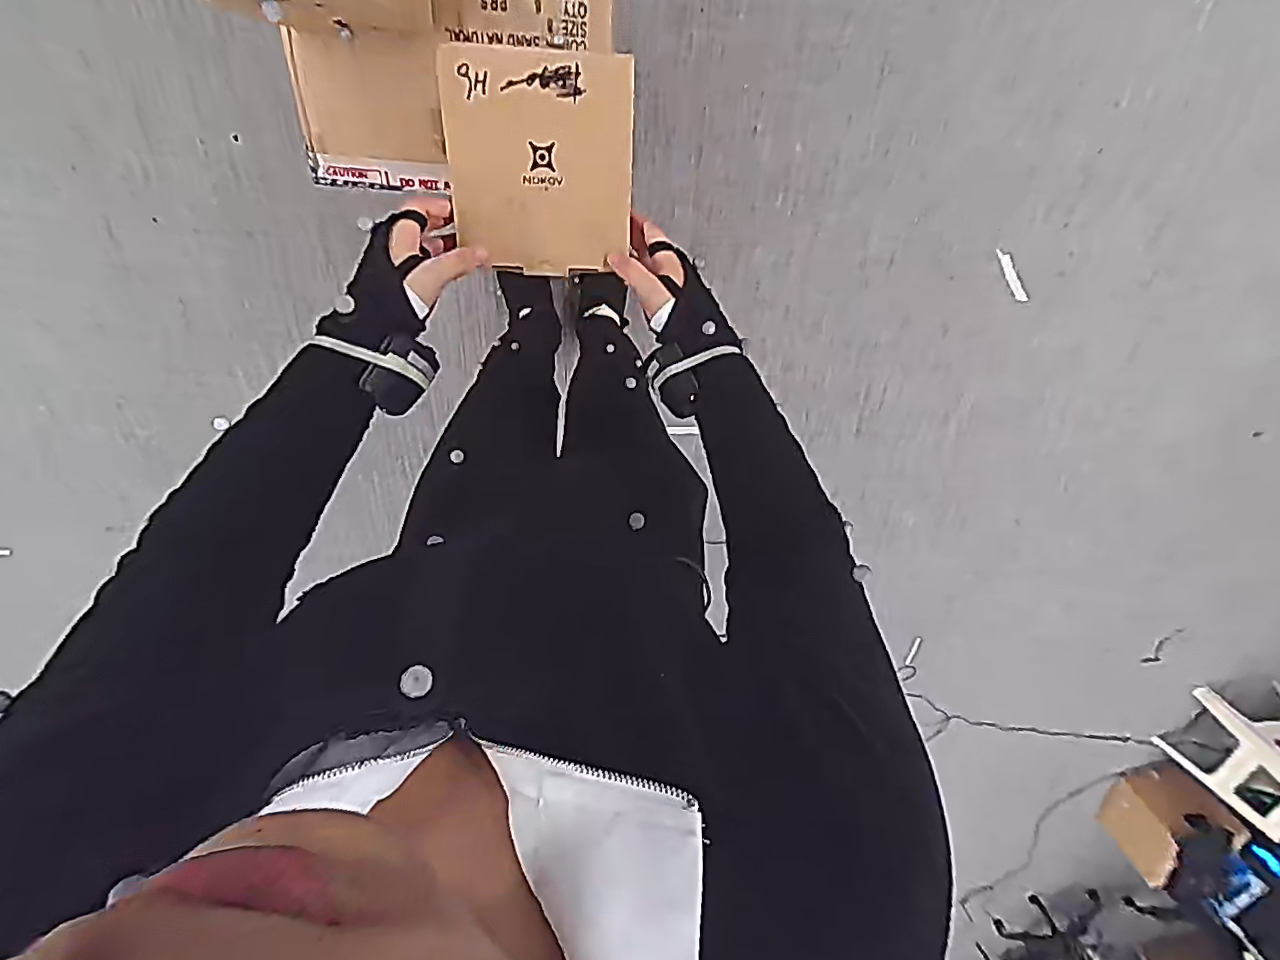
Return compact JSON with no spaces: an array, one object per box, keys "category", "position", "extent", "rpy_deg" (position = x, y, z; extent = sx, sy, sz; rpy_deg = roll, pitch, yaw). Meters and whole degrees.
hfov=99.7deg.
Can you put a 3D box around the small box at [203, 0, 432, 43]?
[{"category":"small box","position":[-0.315,-0.542,0.514],"extent":[0.168,0.176,0.179],"rpy_deg":[-1,123,-2]}]

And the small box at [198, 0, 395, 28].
[{"category":"small box","position":[-0.293,-0.449,0.378],"extent":[0.168,0.176,0.179],"rpy_deg":[2,123,-4]}]

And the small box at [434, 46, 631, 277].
[{"category":"small box","position":[-0.099,-0.319,0.560],"extent":[0.168,0.176,0.179],"rpy_deg":[-1,120,-6]}]
